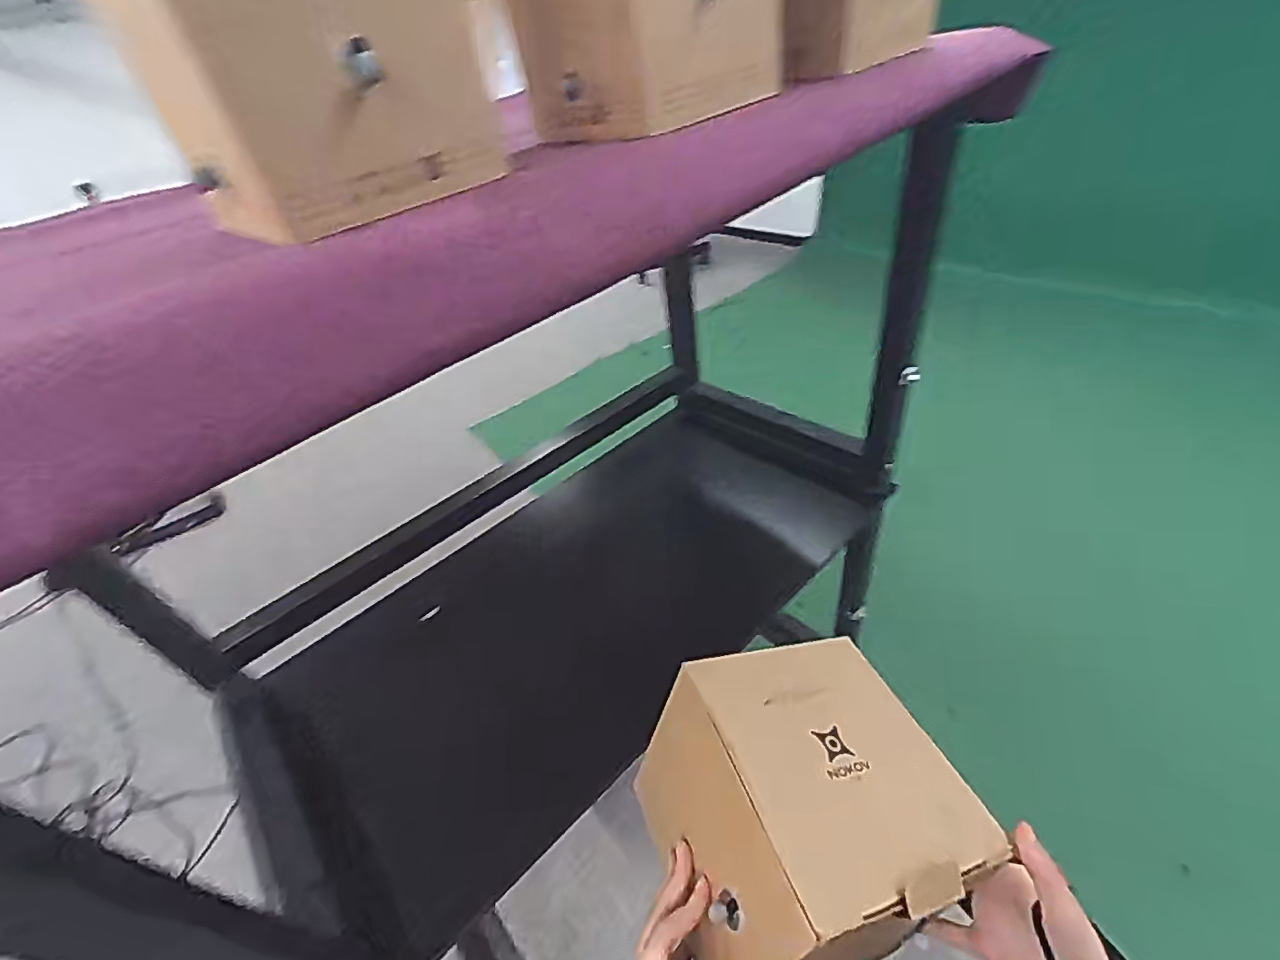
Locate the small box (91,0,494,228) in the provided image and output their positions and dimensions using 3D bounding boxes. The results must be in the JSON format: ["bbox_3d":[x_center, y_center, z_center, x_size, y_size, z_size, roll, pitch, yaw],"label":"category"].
[{"bbox_3d":[-0.226,-0.282,0.361,0.179,0.176,0.168,27,52,37],"label":"small box"}]

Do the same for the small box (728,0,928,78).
[{"bbox_3d":[0.206,-0.559,0.592,0.179,0.176,0.168,-36,46,-25],"label":"small box"}]
